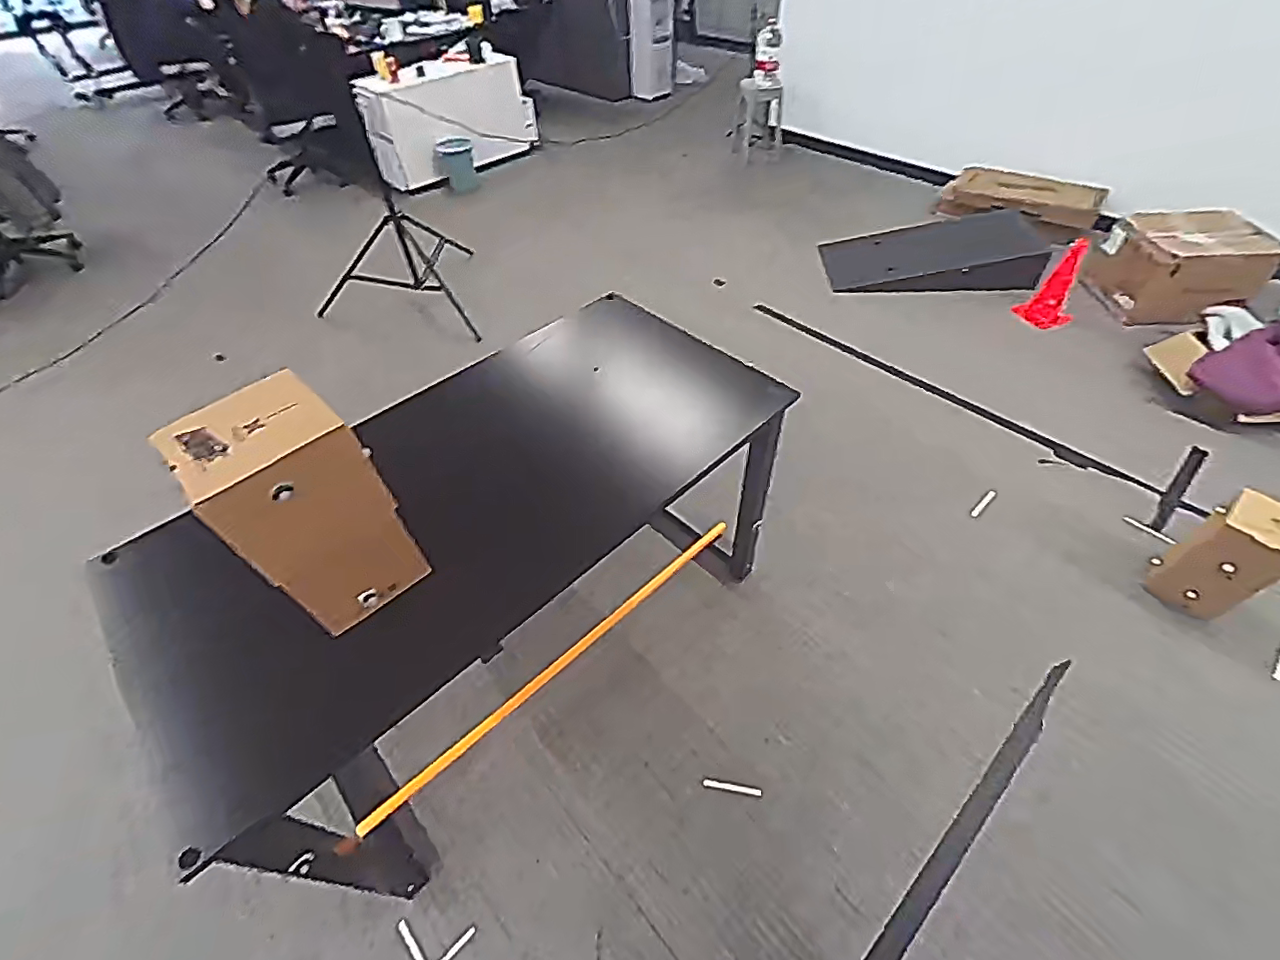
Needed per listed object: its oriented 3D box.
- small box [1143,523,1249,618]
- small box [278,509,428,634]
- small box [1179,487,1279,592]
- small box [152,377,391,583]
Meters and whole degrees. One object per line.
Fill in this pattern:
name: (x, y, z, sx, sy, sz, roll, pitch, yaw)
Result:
small box: (1.608, 0.264, 1.553, 0.179, 0.176, 0.168, -37, 57, -24)
small box: (-0.466, 0.106, 0.841, 0.179, 0.176, 0.168, 36, 61, 28)
small box: (1.593, 0.158, 1.425, 0.179, 0.176, 0.168, -35, 56, -24)
small box: (-0.471, 0.002, 0.713, 0.168, 0.176, 0.179, 34, 59, 29)
